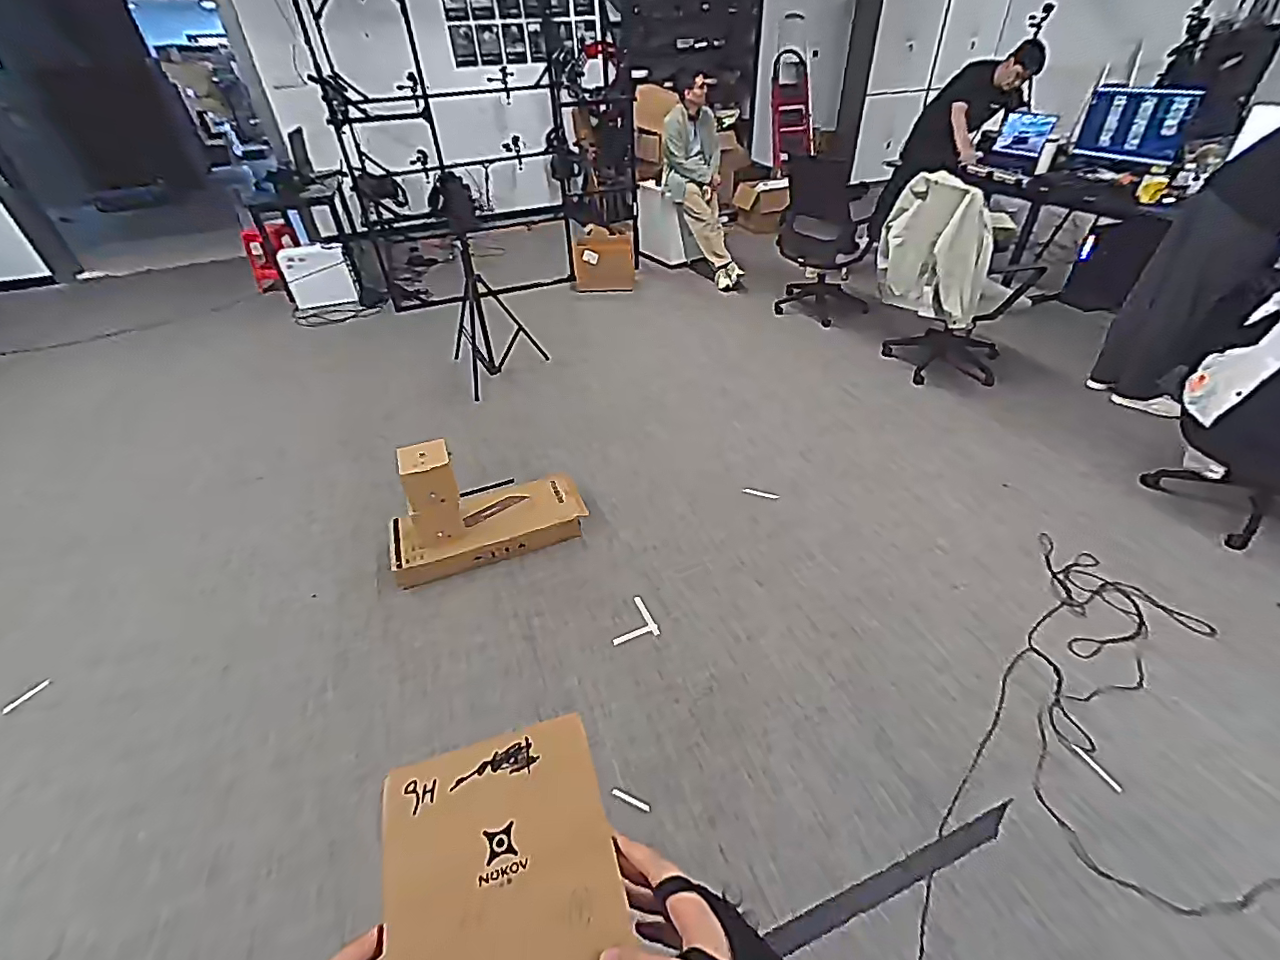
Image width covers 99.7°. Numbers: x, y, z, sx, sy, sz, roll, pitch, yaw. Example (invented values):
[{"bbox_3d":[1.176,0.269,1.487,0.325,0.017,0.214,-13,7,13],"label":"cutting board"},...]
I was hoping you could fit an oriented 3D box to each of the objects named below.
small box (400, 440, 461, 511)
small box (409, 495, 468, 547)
[{"bbox_3d":[-0.754,-0.018,1.948,0.168,0.176,0.179,-16,40,-16],"label":"small box"},{"bbox_3d":[-0.762,0.121,2.040,0.168,0.176,0.179,-17,41,-17],"label":"small box"}]
